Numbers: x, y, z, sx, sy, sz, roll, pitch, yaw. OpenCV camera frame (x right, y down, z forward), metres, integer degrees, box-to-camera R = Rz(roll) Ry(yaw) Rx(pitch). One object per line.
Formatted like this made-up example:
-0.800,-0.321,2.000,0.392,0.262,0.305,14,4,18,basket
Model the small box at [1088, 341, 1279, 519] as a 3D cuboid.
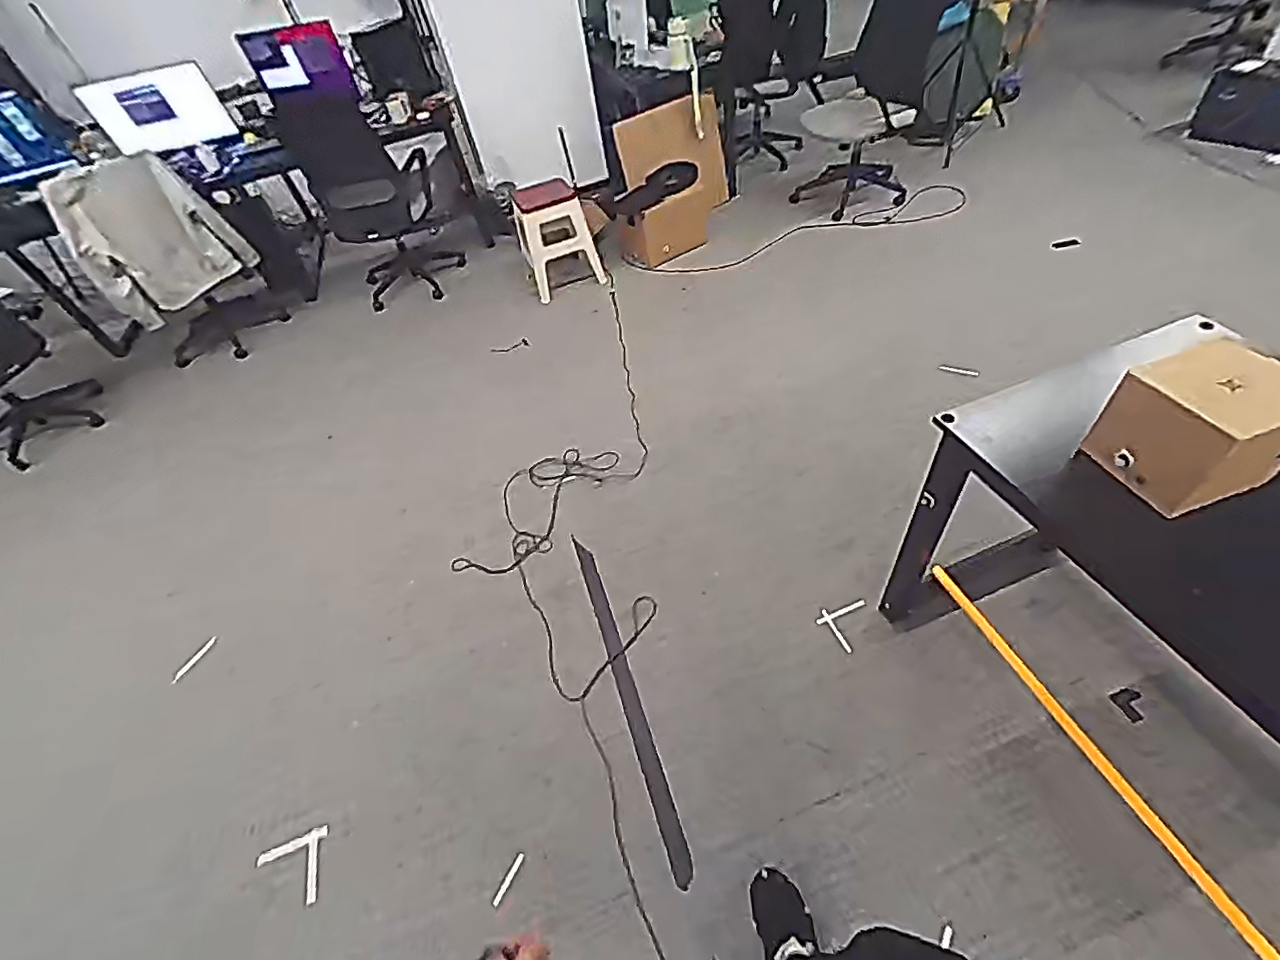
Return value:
0.828,-0.071,0.798,0.179,0.176,0.168,-19,47,-5,small box
